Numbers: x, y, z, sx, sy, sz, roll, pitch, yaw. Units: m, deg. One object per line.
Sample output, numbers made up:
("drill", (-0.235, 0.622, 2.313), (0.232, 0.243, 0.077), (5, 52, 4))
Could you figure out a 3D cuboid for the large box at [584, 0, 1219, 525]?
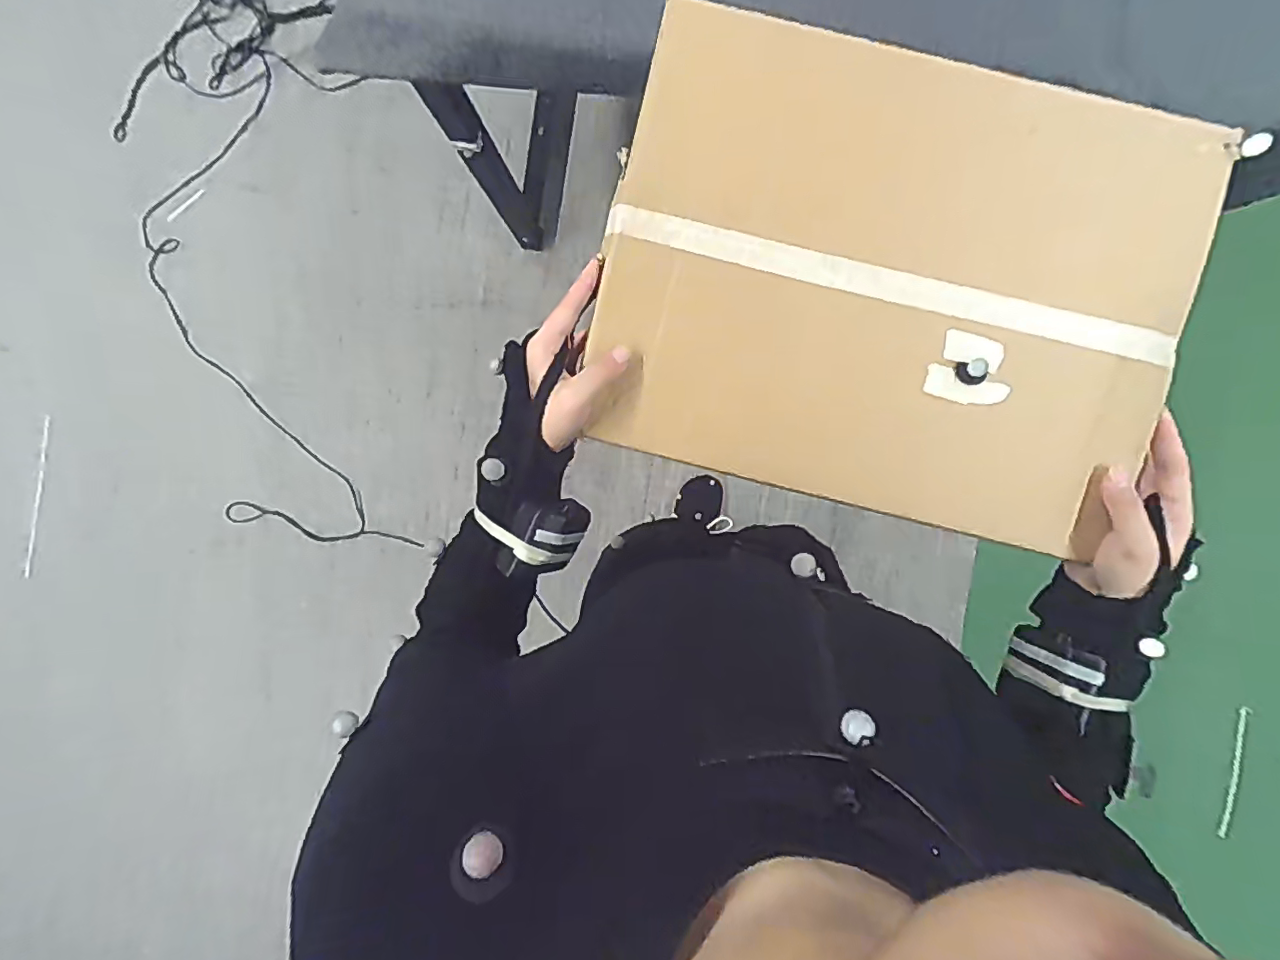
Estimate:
("large box", (0.183, -0.166, 0.538), (0.408, 0.320, 0.320), (14, 95, 0))
